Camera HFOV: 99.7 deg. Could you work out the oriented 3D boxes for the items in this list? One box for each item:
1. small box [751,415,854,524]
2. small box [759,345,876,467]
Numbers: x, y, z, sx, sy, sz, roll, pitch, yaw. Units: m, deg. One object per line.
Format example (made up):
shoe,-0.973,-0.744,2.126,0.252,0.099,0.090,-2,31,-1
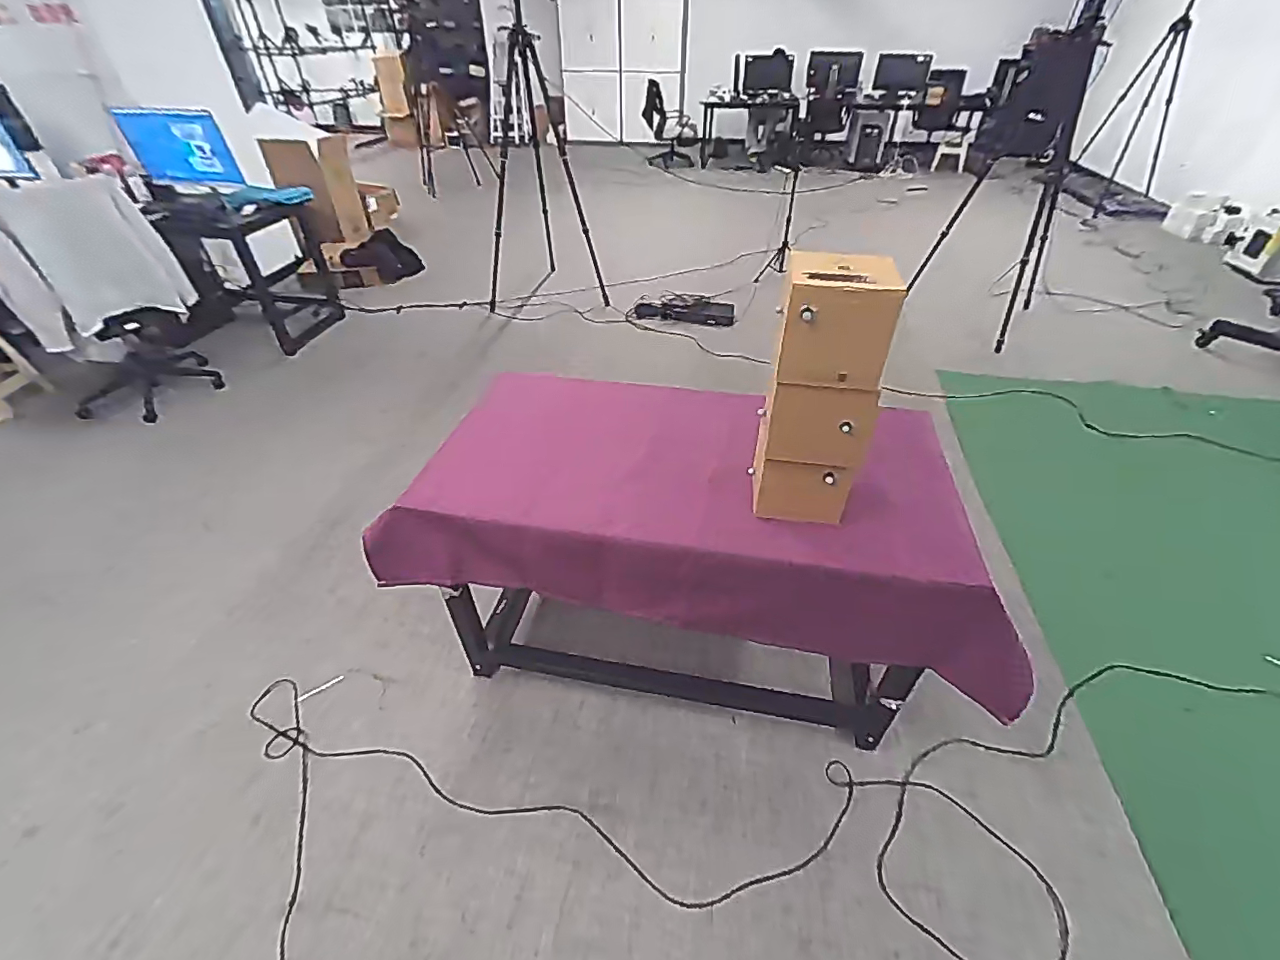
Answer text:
small box,0.335,-0.024,1.151,0.179,0.176,0.168,5,39,7
small box,0.330,-0.141,1.035,0.179,0.176,0.168,6,39,9
